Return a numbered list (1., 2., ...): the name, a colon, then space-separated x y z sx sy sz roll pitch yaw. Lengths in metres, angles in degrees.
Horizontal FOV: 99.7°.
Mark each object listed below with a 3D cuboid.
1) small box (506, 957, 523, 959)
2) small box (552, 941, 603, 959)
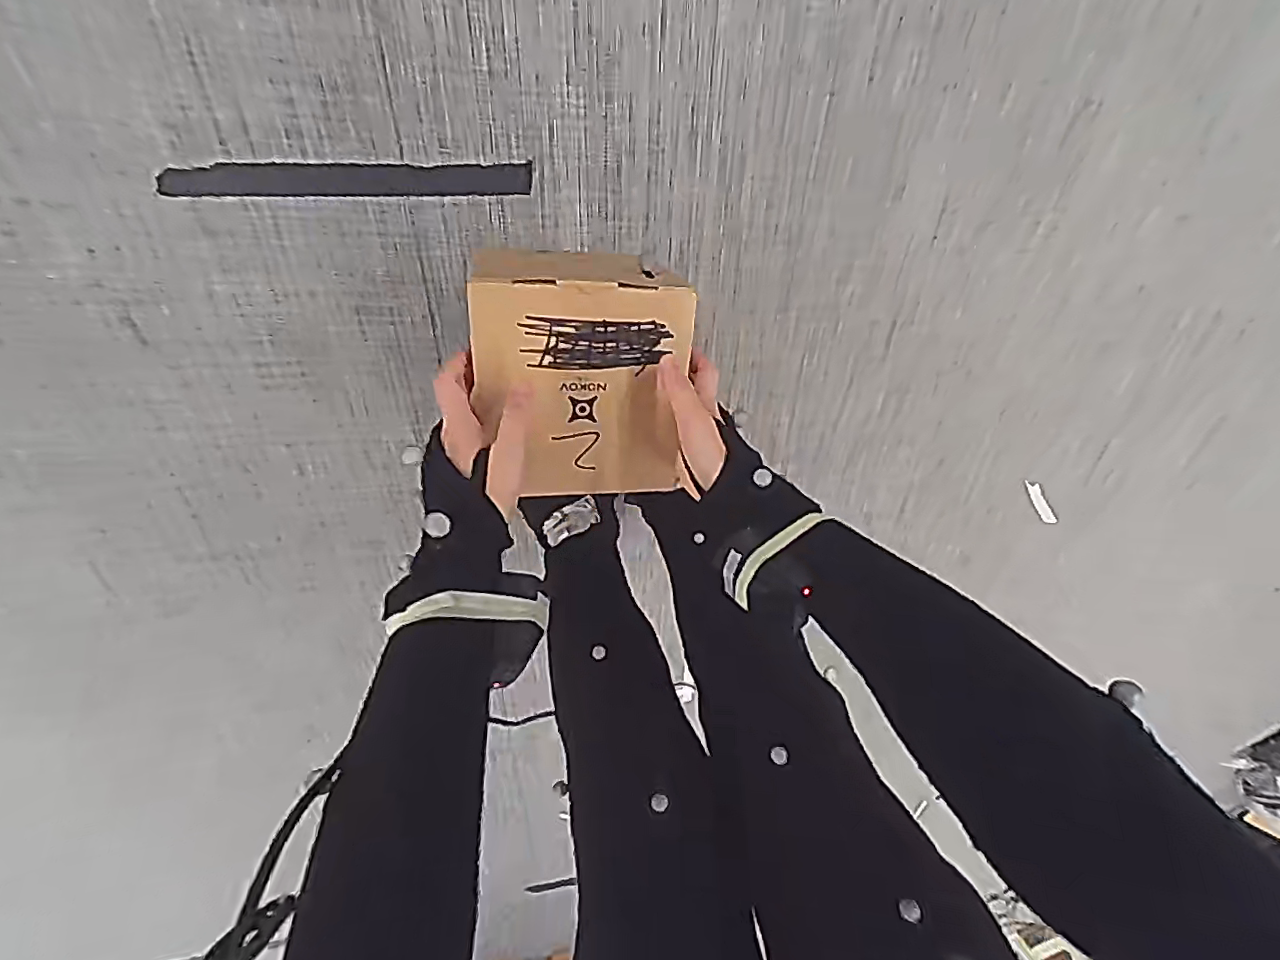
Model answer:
1. small box: -0.488 1.762 1.832 0.179 0.176 0.168 -1 124 -13
2. small box: -0.212 1.760 1.897 0.179 0.176 0.168 -3 123 -11
